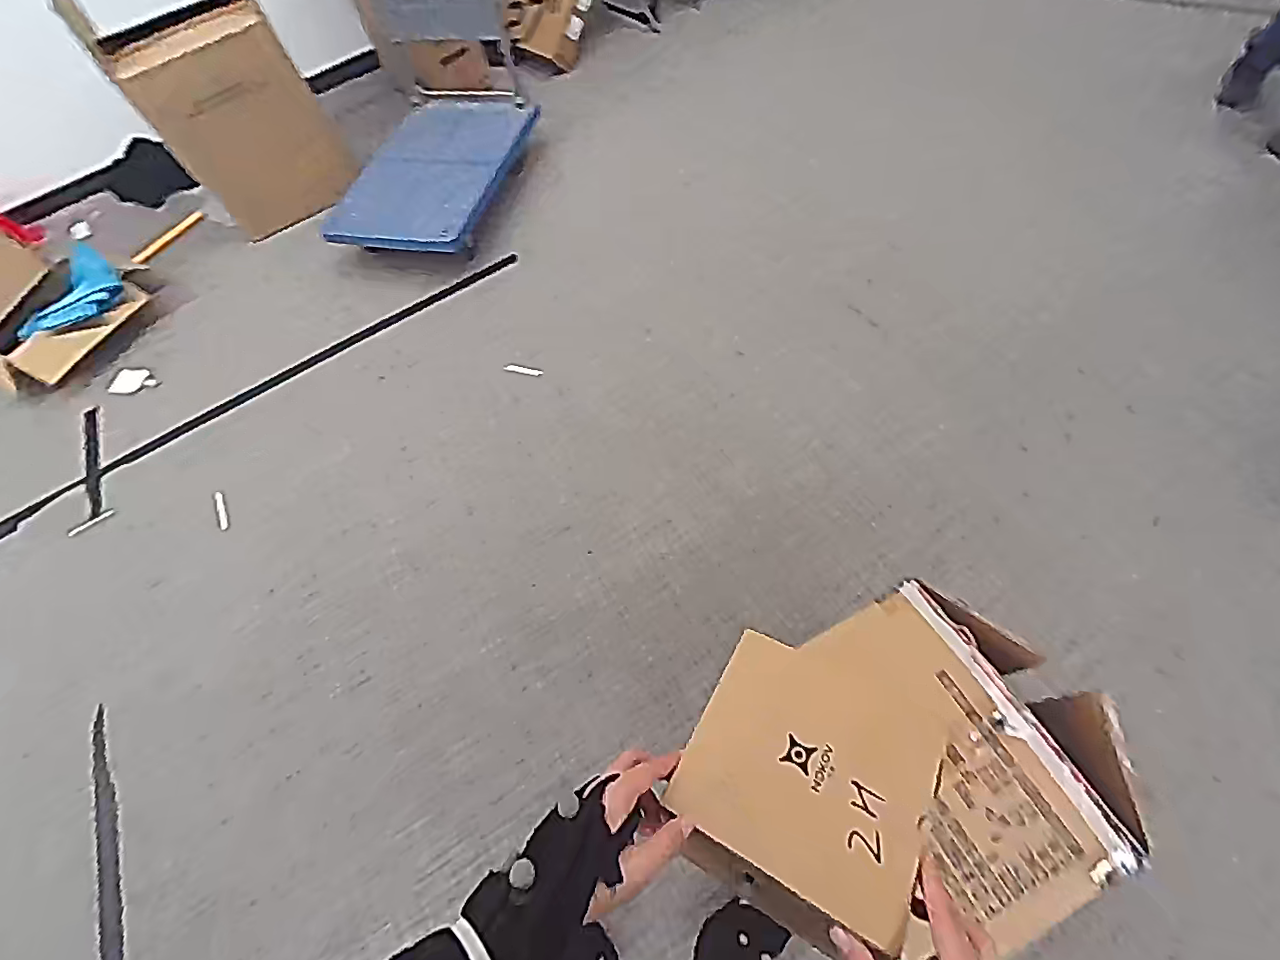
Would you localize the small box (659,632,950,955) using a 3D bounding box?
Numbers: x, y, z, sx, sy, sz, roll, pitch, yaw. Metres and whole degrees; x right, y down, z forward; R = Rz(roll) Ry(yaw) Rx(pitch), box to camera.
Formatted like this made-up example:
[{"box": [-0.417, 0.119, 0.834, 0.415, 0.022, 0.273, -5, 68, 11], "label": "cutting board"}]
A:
[{"box": [0.135, 0.271, 0.469, 0.179, 0.176, 0.168, 20, 53, 24], "label": "small box"}]
